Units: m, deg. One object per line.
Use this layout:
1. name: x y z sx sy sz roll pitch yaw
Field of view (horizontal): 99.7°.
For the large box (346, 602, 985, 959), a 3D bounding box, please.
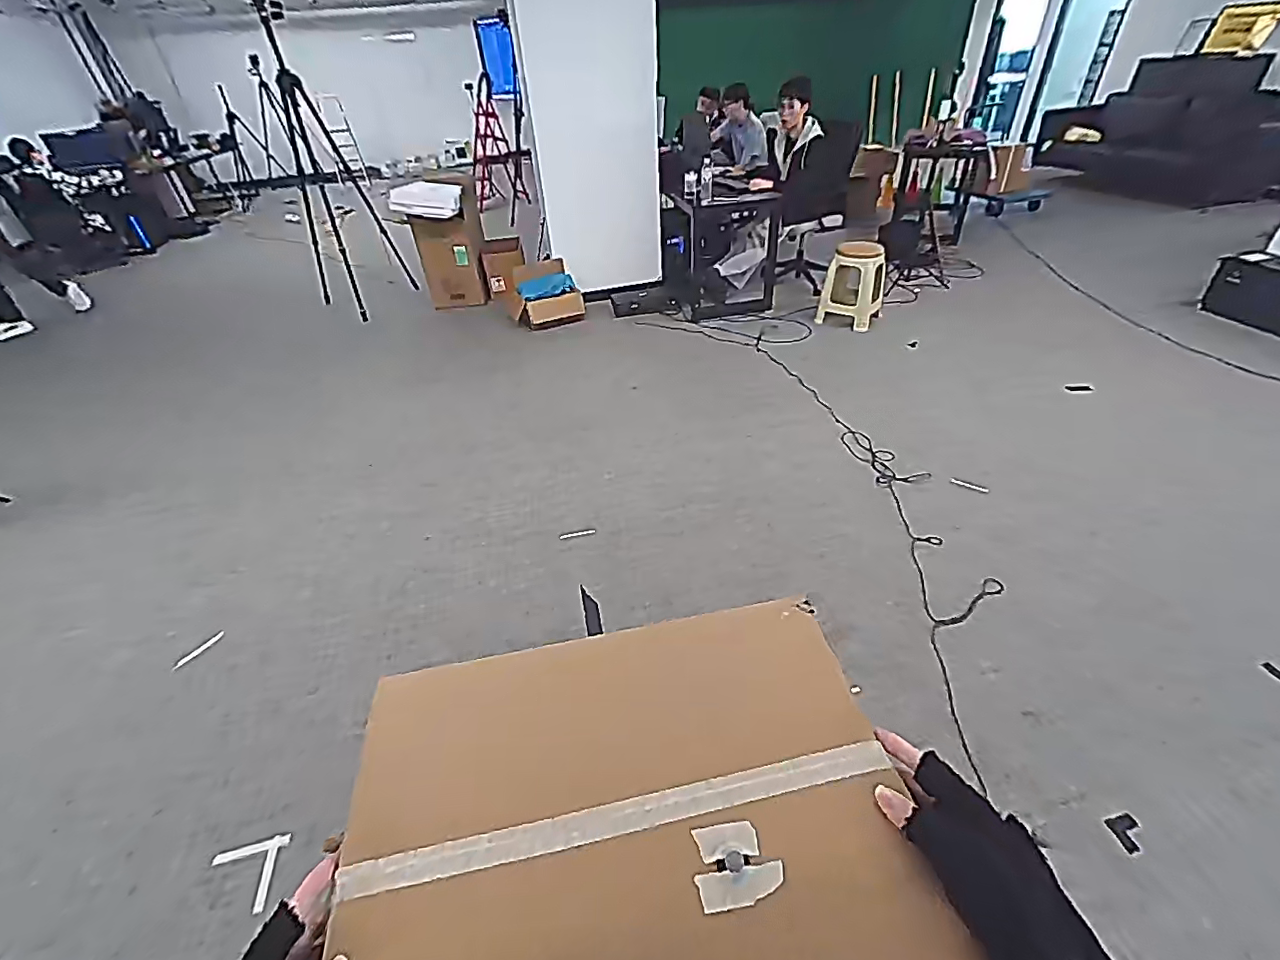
1. large box: 0.000 0.364 0.504 0.408 0.320 0.320 -9 41 -7
